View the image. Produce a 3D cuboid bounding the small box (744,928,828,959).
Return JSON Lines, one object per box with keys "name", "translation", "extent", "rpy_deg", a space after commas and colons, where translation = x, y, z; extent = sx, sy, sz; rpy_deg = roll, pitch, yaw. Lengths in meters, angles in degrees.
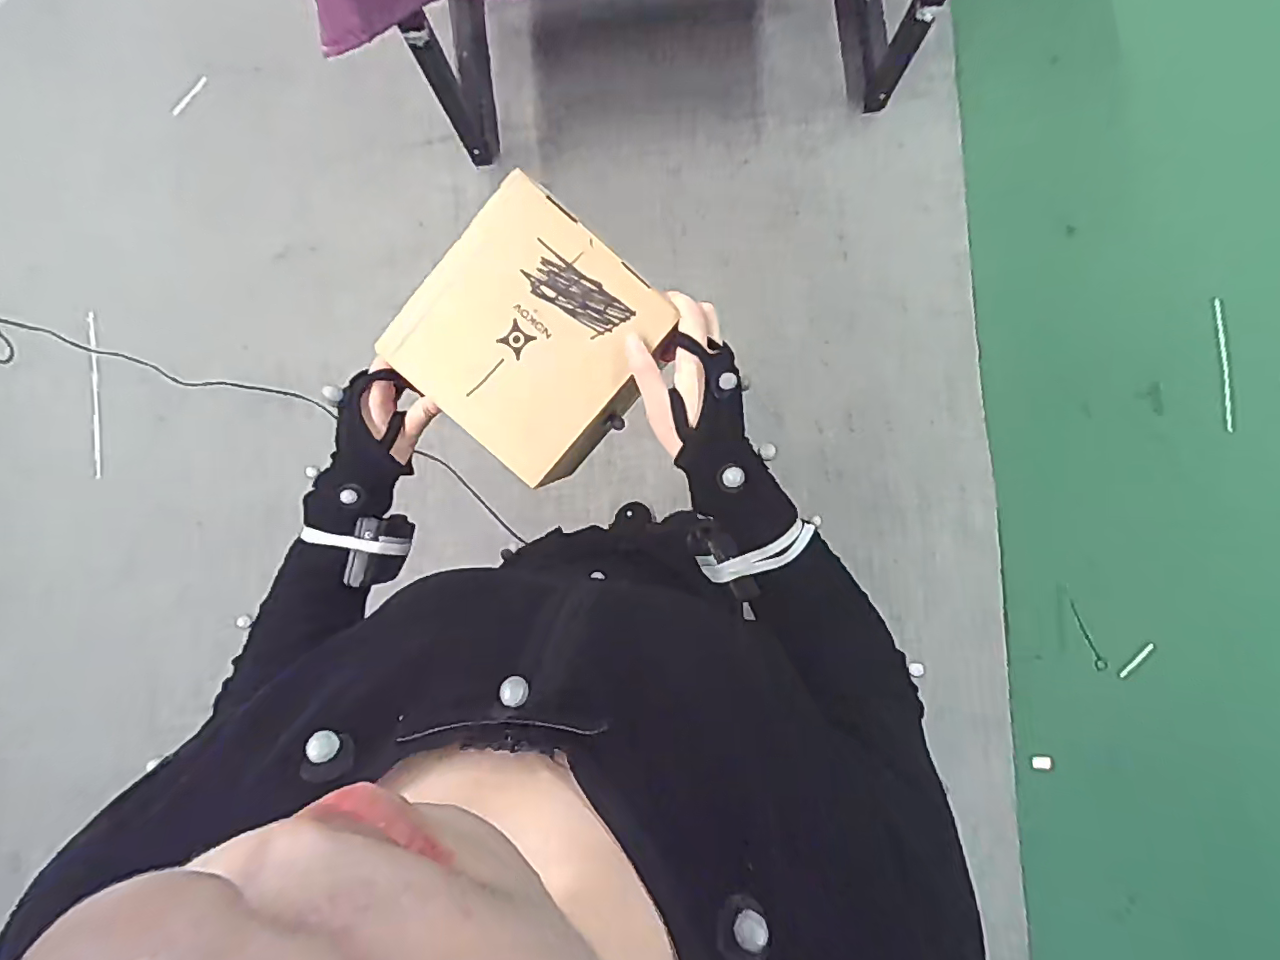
{"name": "small box", "translation": [0.309, 1.059, 1.091], "extent": [0.168, 0.176, 0.179], "rpy_deg": [-3, 92, 0]}
